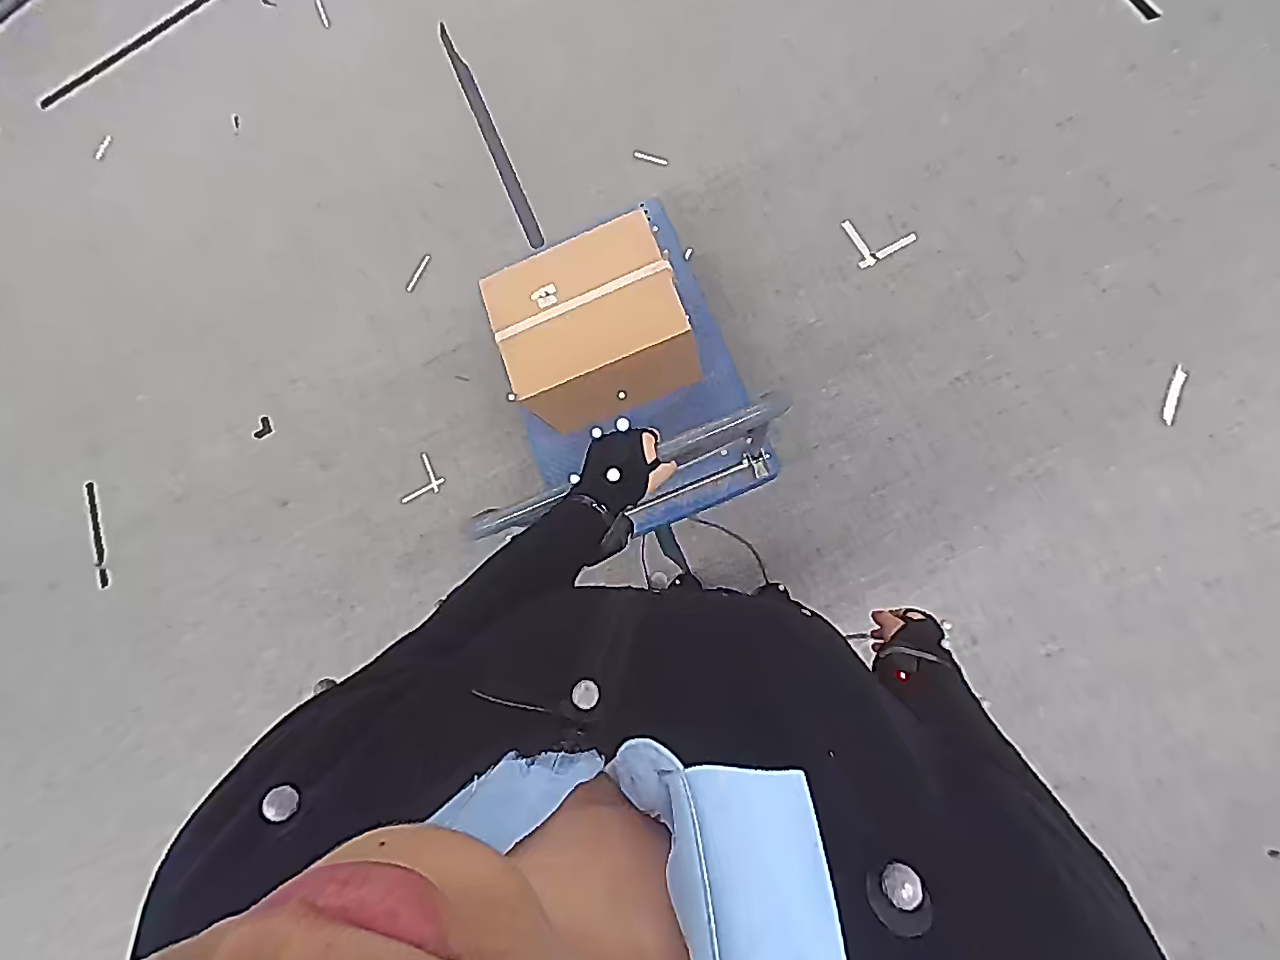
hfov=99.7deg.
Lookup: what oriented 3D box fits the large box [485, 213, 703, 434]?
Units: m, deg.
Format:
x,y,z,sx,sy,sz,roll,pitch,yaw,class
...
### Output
x,y,z,sx,sy,sz,roll,pitch,yaw,class
-0.095,-0.355,1.325,0.408,0.320,0.320,-22,76,8,large box
